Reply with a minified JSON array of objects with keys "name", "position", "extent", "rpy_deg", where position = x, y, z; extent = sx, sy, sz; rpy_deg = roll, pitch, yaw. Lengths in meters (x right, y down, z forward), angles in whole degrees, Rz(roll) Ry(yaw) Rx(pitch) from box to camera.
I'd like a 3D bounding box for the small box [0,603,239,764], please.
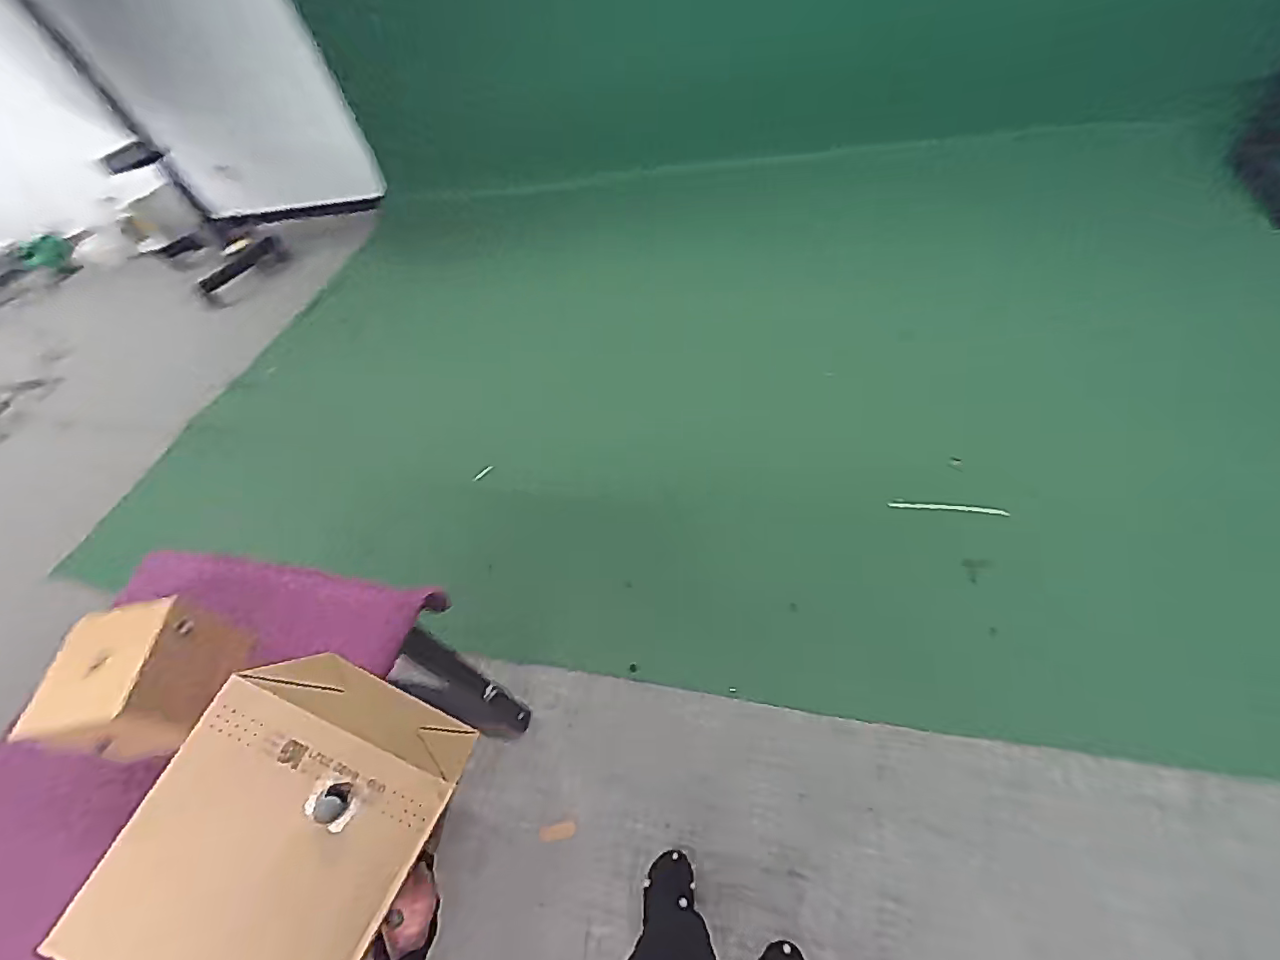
[{"name":"small box","position":[-0.758,0.313,0.815],"extent":[0.168,0.176,0.179],"rpy_deg":[-13,50,4]}]
